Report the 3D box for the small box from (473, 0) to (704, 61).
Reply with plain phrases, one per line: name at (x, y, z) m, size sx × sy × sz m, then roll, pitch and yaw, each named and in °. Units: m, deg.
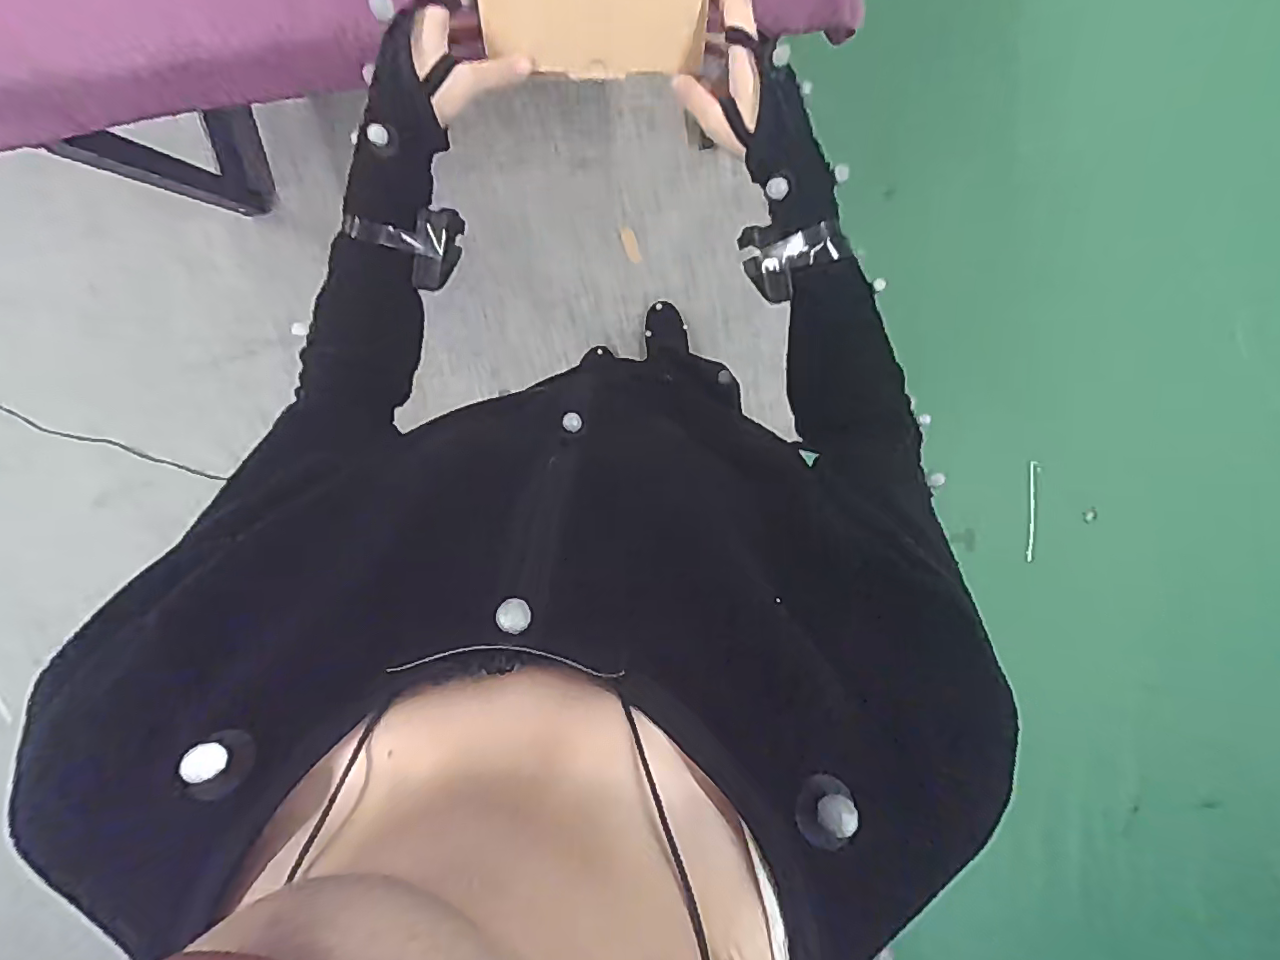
small box at (-0.044, -0.431, 0.396) m, size 0.168 × 0.176 × 0.179 m, roll -4°, pitch 137°, yaw -5°
